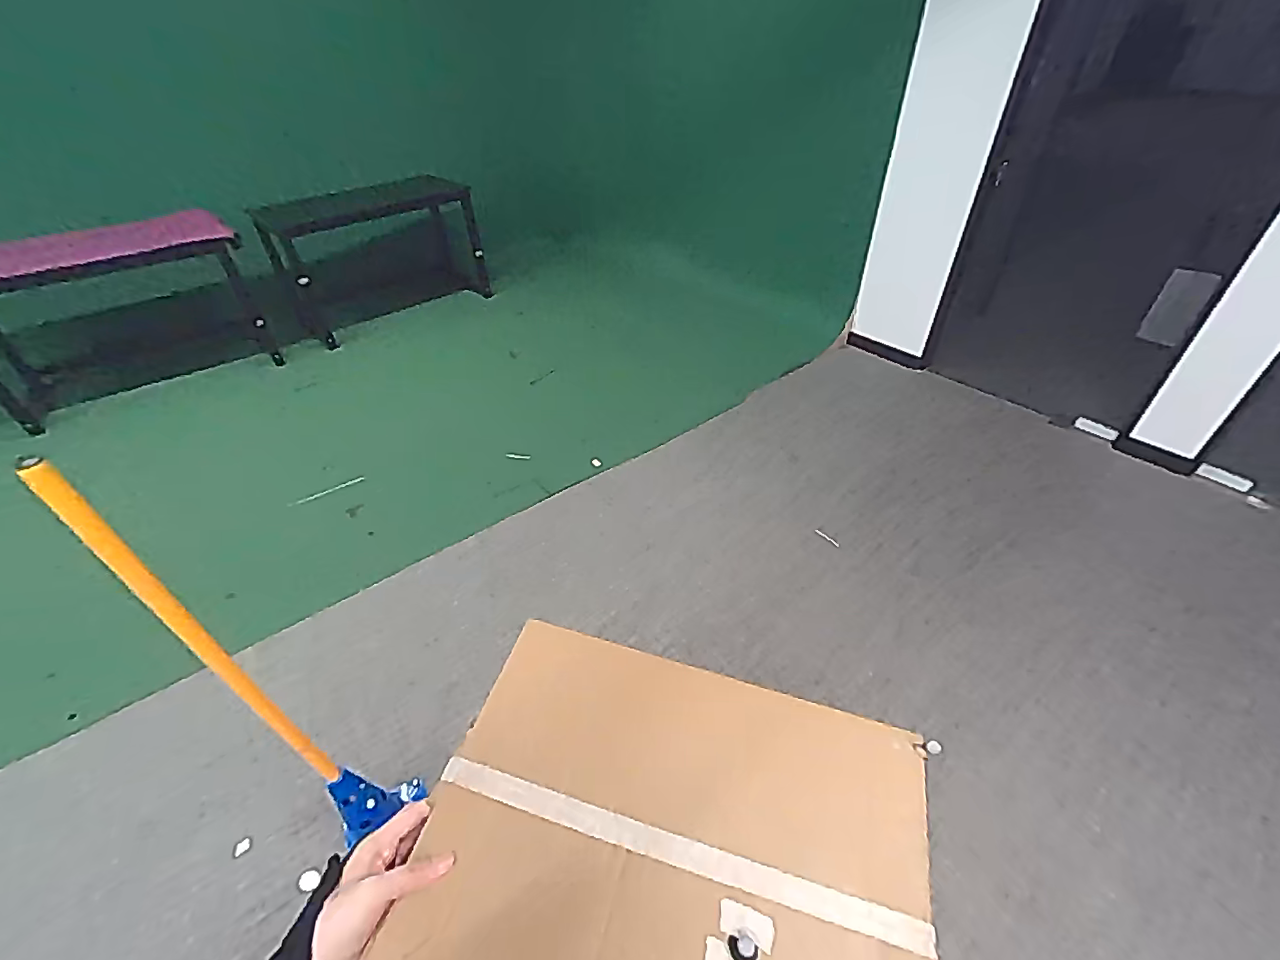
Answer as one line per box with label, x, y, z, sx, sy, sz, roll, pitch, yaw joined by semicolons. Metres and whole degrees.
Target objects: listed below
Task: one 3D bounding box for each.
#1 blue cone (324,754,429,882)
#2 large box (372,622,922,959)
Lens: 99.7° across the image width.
blue cone;-0.637;0.744;1.248;0.193;0.380;0.192;-20;43;-21
large box;0.023;0.404;0.564;0.408;0.320;0.320;14;48;10
